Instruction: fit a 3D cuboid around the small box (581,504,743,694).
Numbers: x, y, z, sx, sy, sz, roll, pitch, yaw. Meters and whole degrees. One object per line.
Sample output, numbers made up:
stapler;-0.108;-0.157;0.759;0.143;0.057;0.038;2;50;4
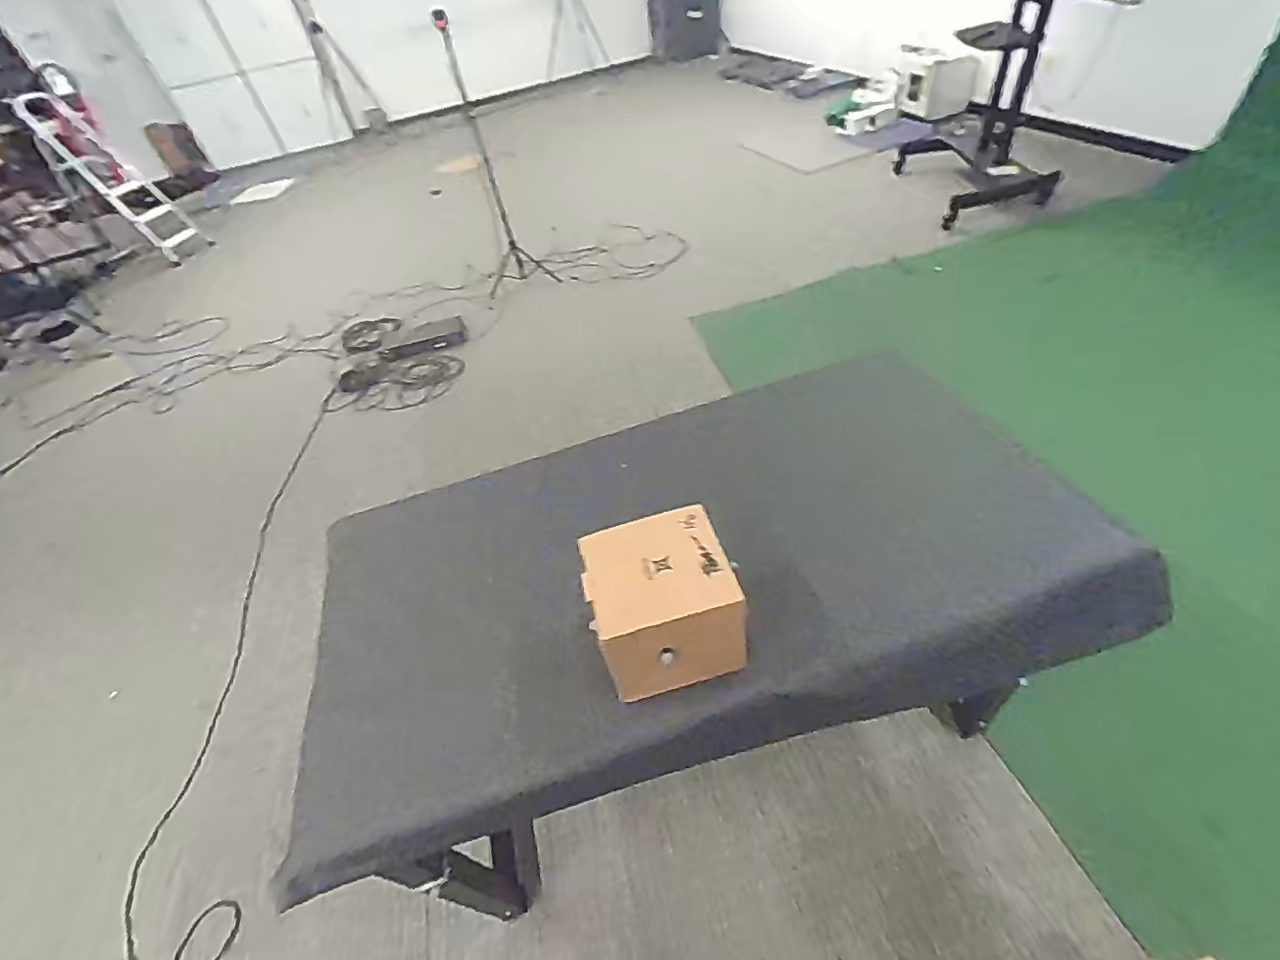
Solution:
small box;0.032;0.164;0.734;0.179;0.176;0.168;-15;44;-3
